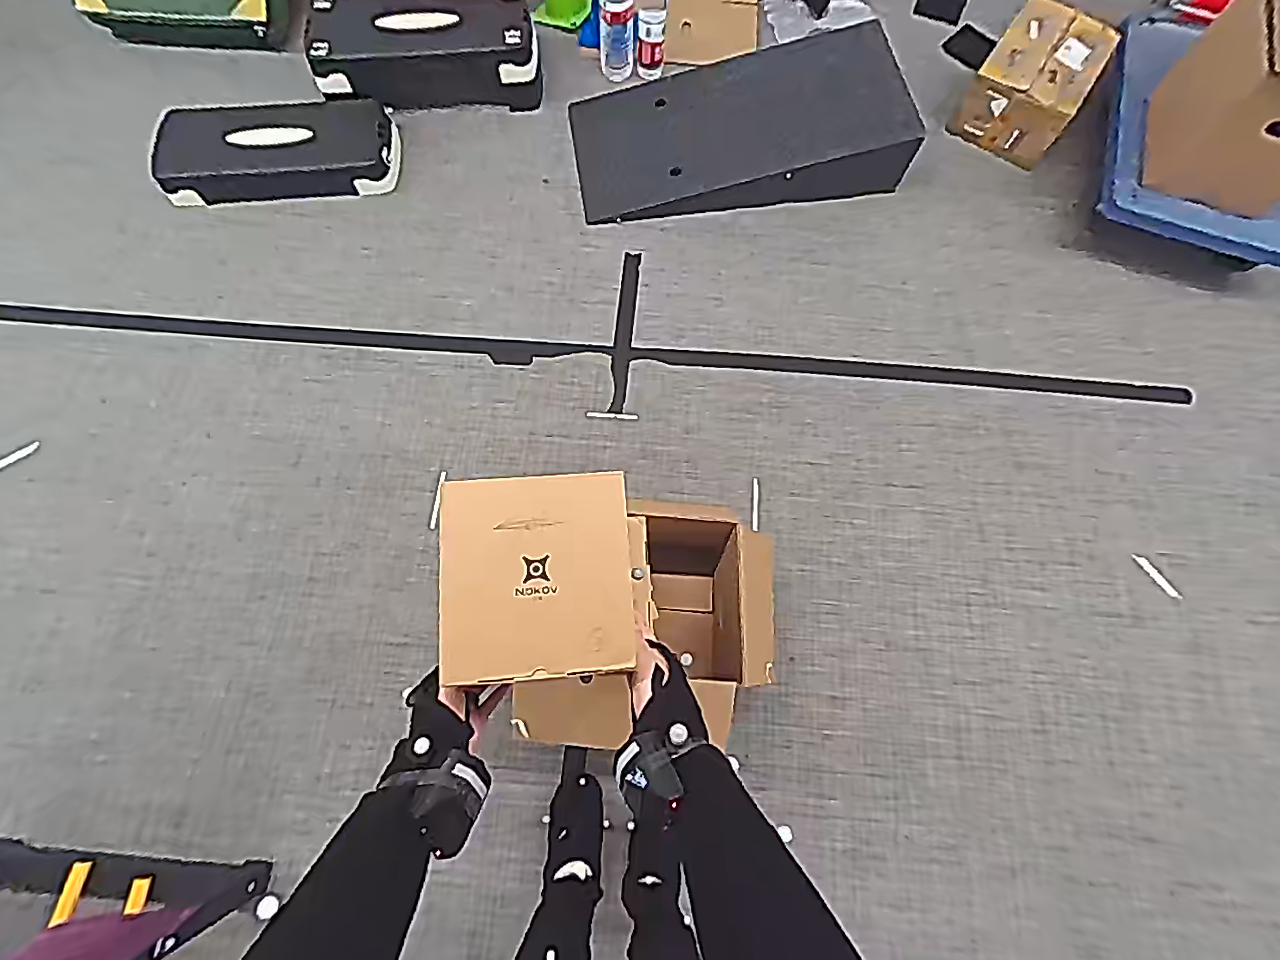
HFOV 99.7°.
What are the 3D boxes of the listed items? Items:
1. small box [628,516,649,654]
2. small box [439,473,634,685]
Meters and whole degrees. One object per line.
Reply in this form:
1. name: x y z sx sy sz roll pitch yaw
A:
1. small box: -0.084 0.144 0.718 0.179 0.176 0.168 -1 76 -5
2. small box: -0.094 0.098 0.545 0.168 0.176 0.179 -2 77 -5
